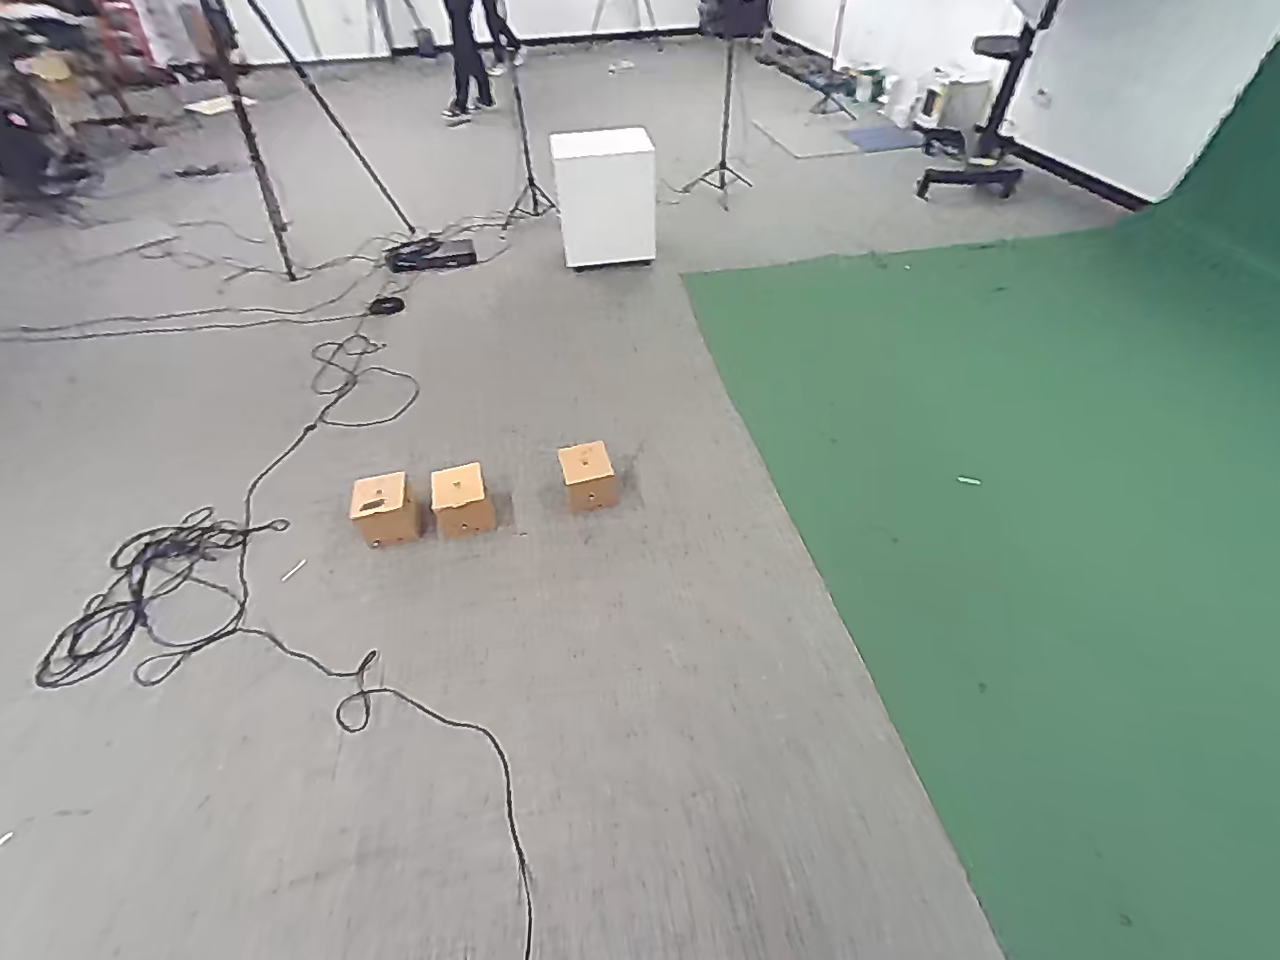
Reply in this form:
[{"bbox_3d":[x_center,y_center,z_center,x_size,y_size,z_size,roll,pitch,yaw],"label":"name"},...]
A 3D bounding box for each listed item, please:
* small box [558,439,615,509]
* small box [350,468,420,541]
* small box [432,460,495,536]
[{"bbox_3d":[-0.185,-0.016,1.904,0.168,0.176,0.179,-12,49,-11],"label":"small box"},{"bbox_3d":[-0.854,0.089,1.829,0.168,0.176,0.179,-11,48,-8],"label":"small box"},{"bbox_3d":[-0.601,0.062,1.848,0.168,0.176,0.179,-14,50,-10],"label":"small box"}]
